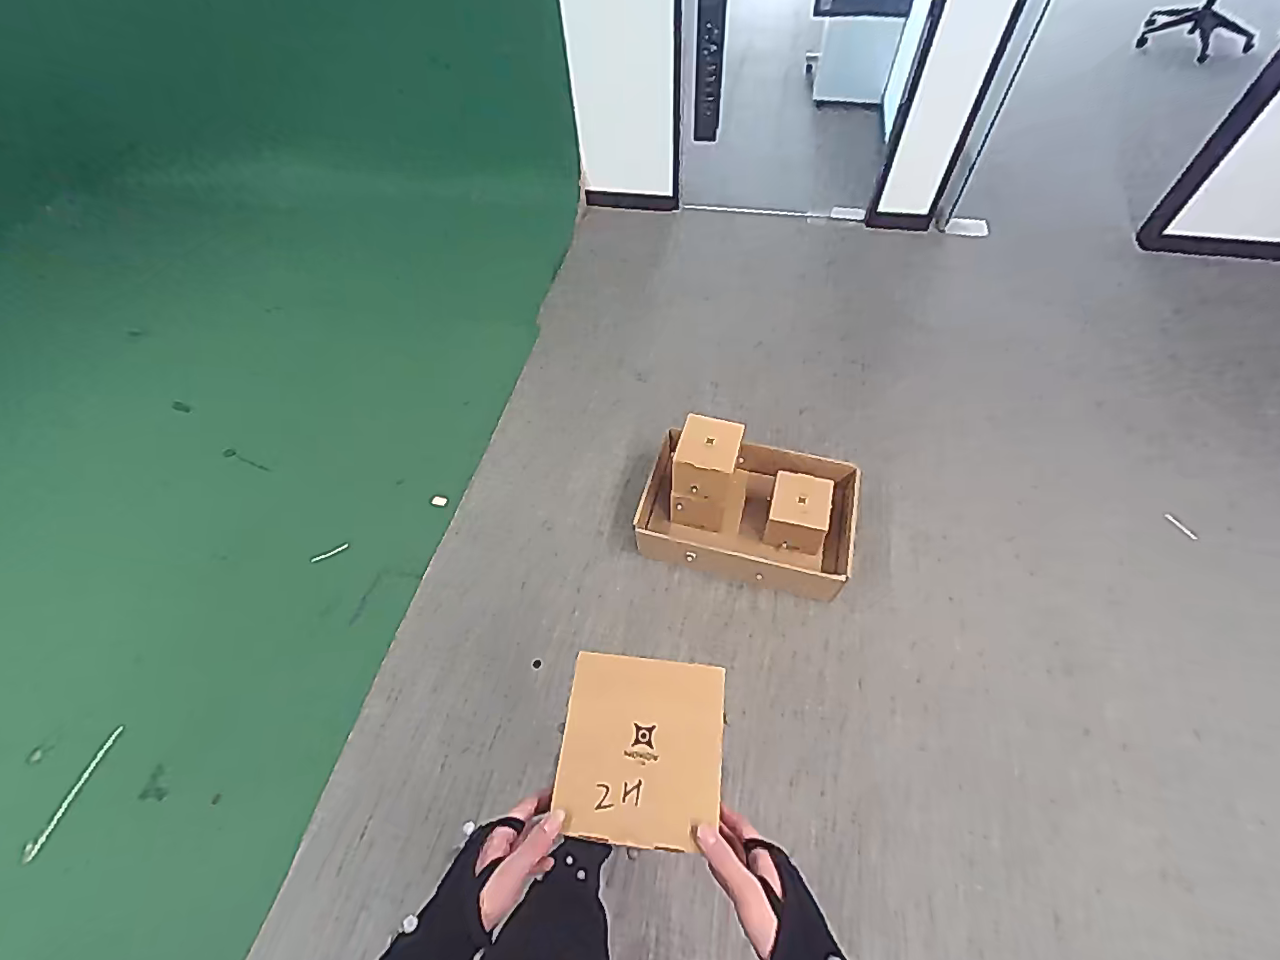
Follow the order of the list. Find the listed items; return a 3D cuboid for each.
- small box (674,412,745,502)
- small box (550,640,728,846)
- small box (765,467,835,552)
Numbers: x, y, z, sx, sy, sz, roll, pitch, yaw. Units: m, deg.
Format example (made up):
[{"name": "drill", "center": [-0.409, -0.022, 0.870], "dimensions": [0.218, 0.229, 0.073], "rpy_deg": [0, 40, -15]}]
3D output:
[{"name": "small box", "center": [0.195, -0.064, 1.546], "dimensions": [0.168, 0.176, 0.179], "rpy_deg": [13, 58, 11]}, {"name": "small box", "center": [0.007, 0.303, 0.624], "dimensions": [0.168, 0.176, 0.179], "rpy_deg": [5, 59, 7]}, {"name": "small box", "center": [0.476, 0.090, 1.622], "dimensions": [0.168, 0.176, 0.179], "rpy_deg": [12, 59, 12]}]
